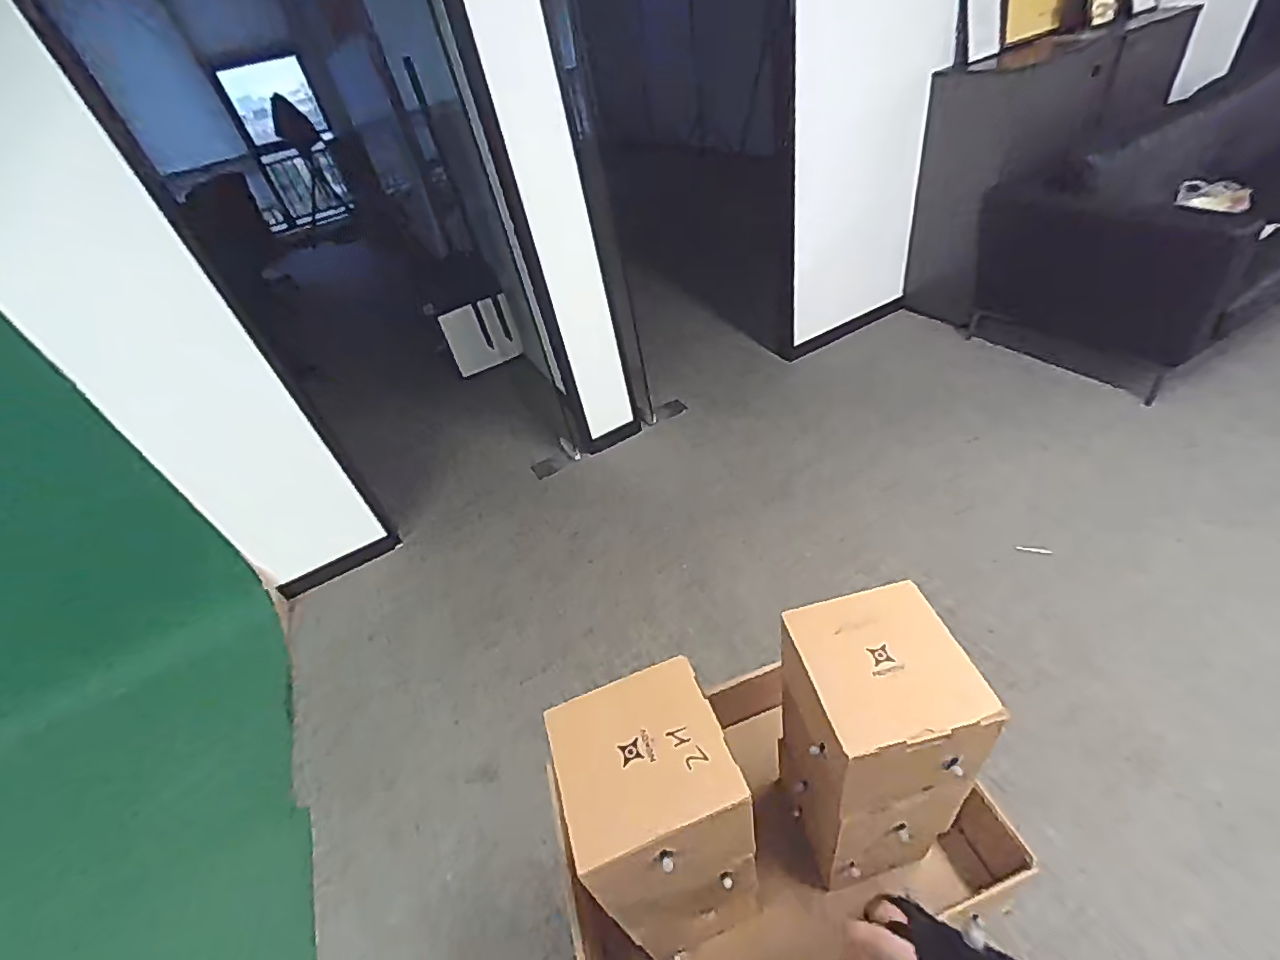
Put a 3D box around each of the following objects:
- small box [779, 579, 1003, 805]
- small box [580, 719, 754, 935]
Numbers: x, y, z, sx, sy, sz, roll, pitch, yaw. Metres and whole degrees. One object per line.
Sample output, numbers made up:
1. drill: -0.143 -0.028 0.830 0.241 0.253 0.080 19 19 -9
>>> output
1. small box: 0.274 0.251 0.631 0.168 0.176 0.179 -15 39 0
2. small box: 0.038 0.461 0.718 0.179 0.176 0.168 -19 40 -8
